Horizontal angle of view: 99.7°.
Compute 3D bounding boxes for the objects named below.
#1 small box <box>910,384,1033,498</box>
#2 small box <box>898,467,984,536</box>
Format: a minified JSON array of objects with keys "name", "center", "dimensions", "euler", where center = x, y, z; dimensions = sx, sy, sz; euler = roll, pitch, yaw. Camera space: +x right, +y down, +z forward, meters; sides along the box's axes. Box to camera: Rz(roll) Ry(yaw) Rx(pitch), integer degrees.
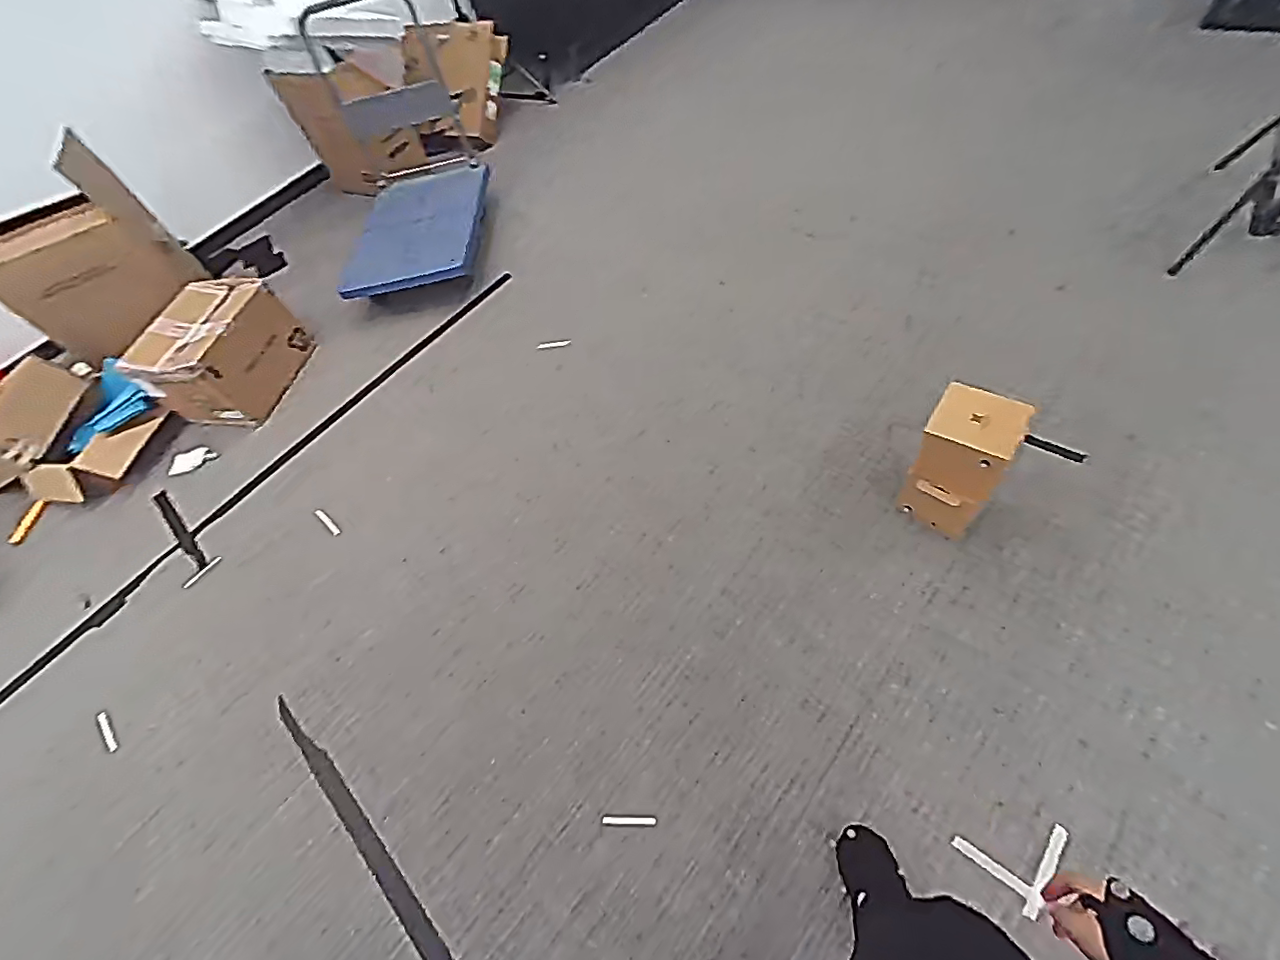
[{"name":"small box","center":[0.747,-0.085,1.237],"dimensions":[0.179,0.176,0.168],"euler":[27,67,27]},{"name":"small box","center":[0.776,0.011,1.366],"dimensions":[0.168,0.176,0.179],"euler":[34,70,30]}]
